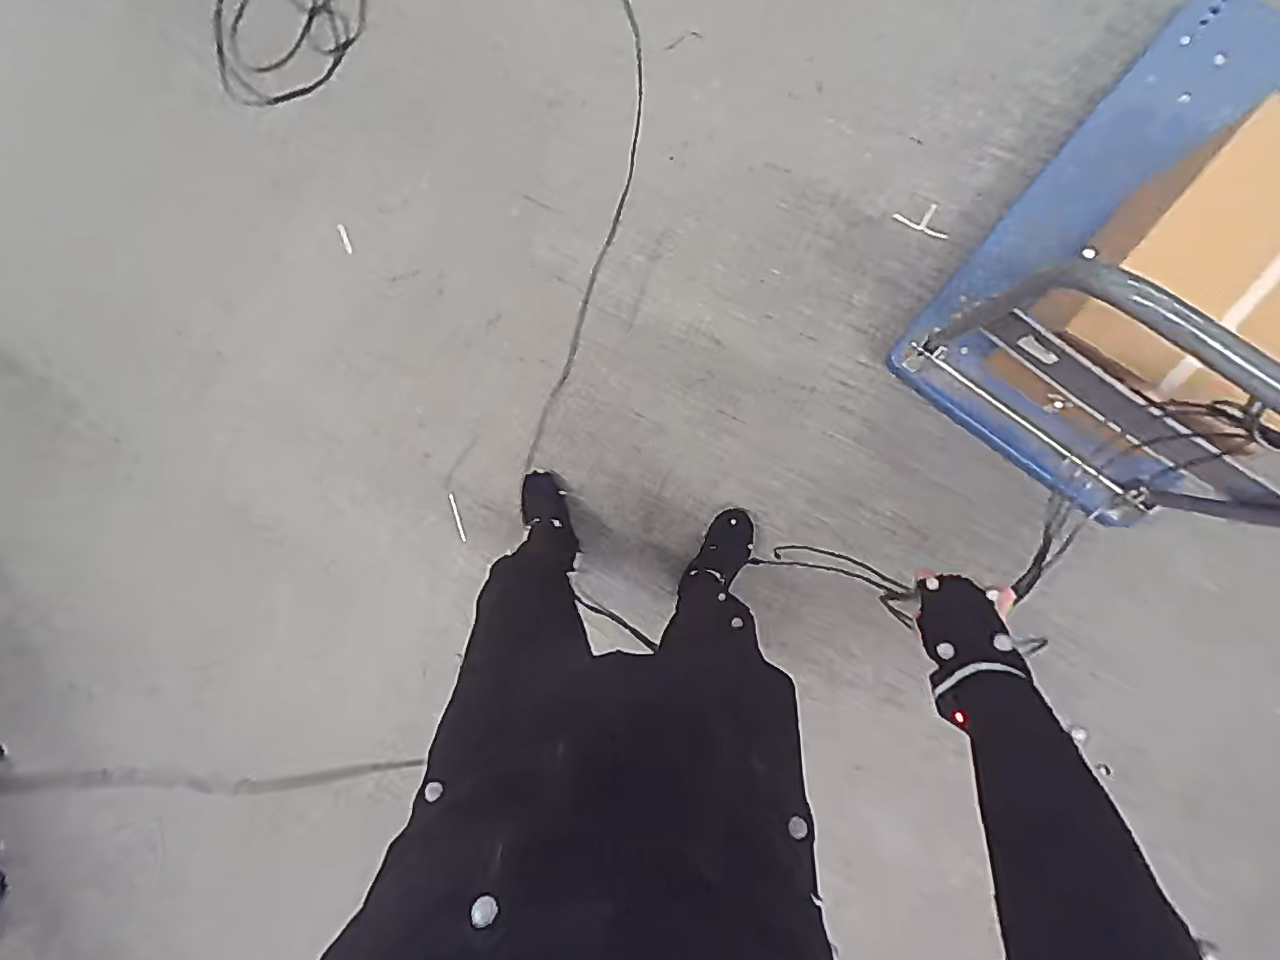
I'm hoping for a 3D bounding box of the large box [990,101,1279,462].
[{"bbox_3d":[0.897,-0.277,0.892,0.320,0.320,0.408,39,99,8],"label":"large box"}]
